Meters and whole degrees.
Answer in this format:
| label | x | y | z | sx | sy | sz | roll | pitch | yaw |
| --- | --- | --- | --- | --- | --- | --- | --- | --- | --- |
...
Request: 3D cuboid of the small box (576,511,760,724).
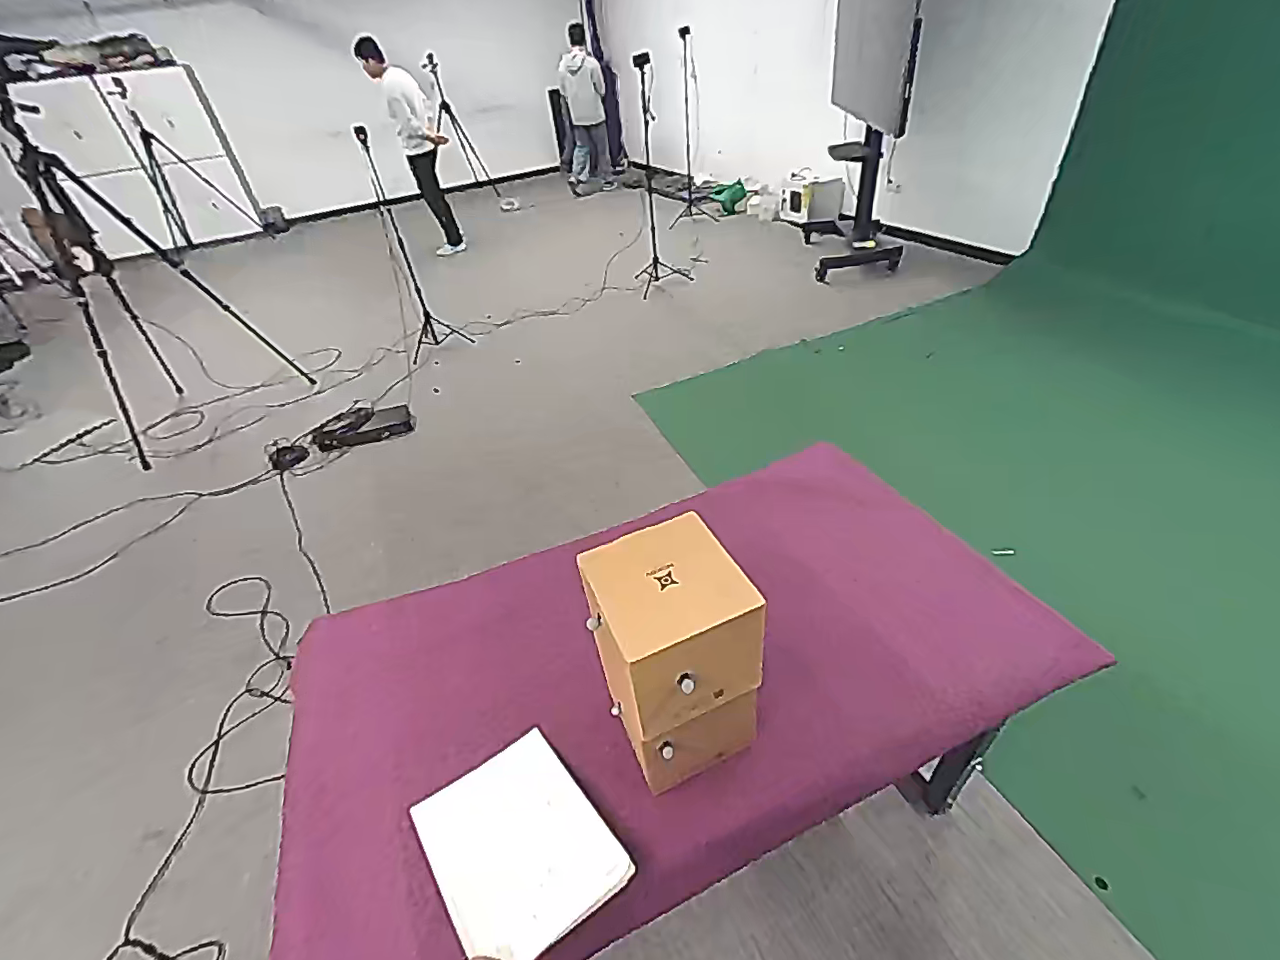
| label | x | y | z | sx | sy | sz | roll | pitch | yaw |
| --- | --- | --- | --- | --- | --- | --- | --- | --- | --- |
| small box | 0.036 | 0.174 | 0.675 | 0.168 | 0.176 | 0.179 | -19 | 39 | -14 |
